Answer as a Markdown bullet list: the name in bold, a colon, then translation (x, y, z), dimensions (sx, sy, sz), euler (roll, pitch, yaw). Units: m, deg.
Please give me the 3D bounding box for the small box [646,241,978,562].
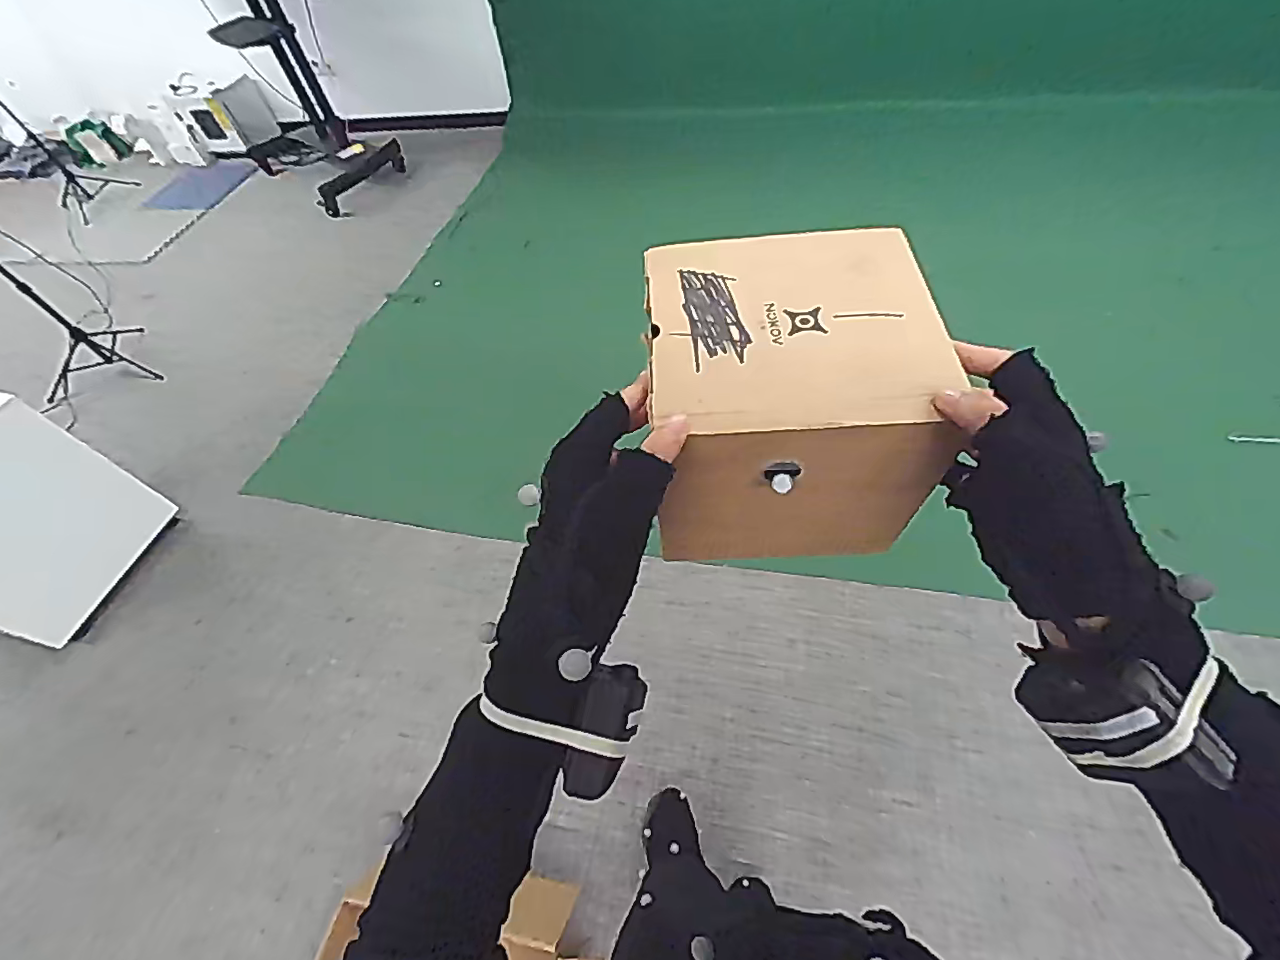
- **small box**: translation (0.098, -0.047, 0.397), dimensions (0.179, 0.176, 0.168), euler (-3, 58, 3)
